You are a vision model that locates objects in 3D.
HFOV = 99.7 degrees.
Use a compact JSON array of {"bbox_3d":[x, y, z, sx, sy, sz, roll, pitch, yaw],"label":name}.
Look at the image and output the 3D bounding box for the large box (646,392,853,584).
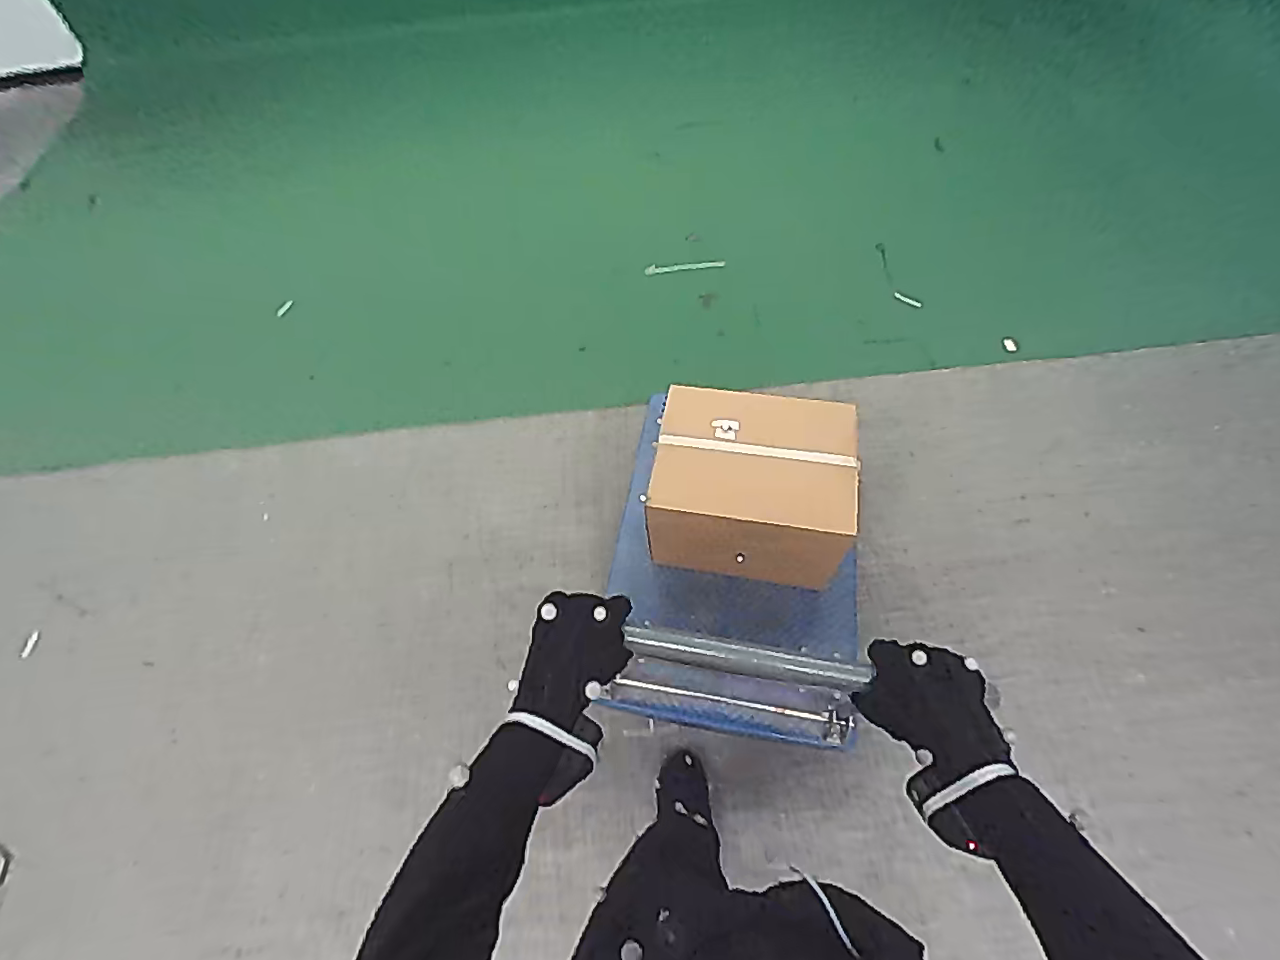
[{"bbox_3d":[0.248,0.026,1.250,0.408,0.320,0.320,7,59,10],"label":"large box"}]
